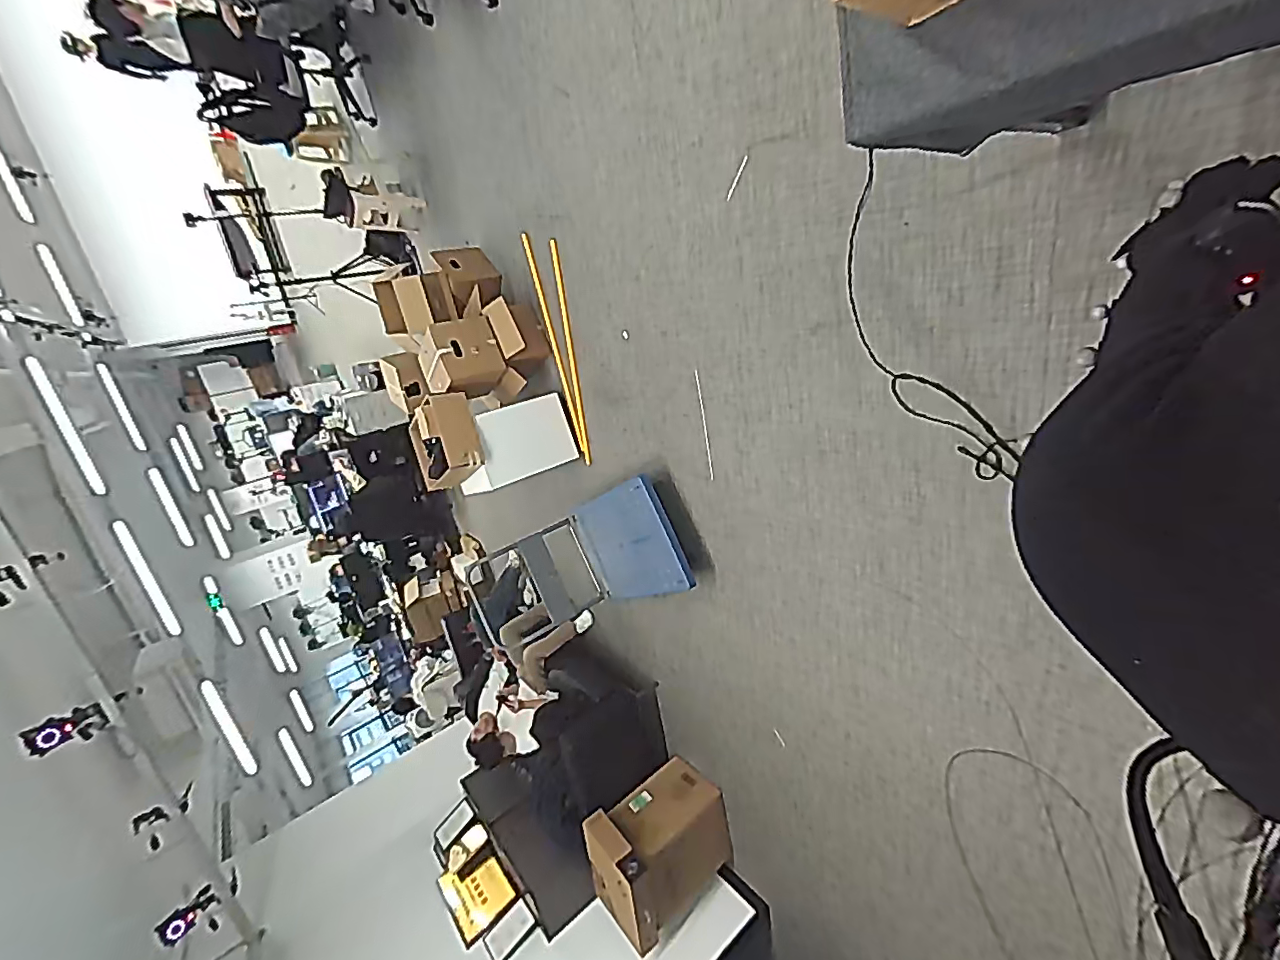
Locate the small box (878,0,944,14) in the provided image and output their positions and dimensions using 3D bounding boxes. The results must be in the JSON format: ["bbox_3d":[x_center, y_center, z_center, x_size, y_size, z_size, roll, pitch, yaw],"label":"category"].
[{"bbox_3d":[0.294,-0.599,0.518,0.168,0.176,0.179,11,118,52],"label":"small box"}]
